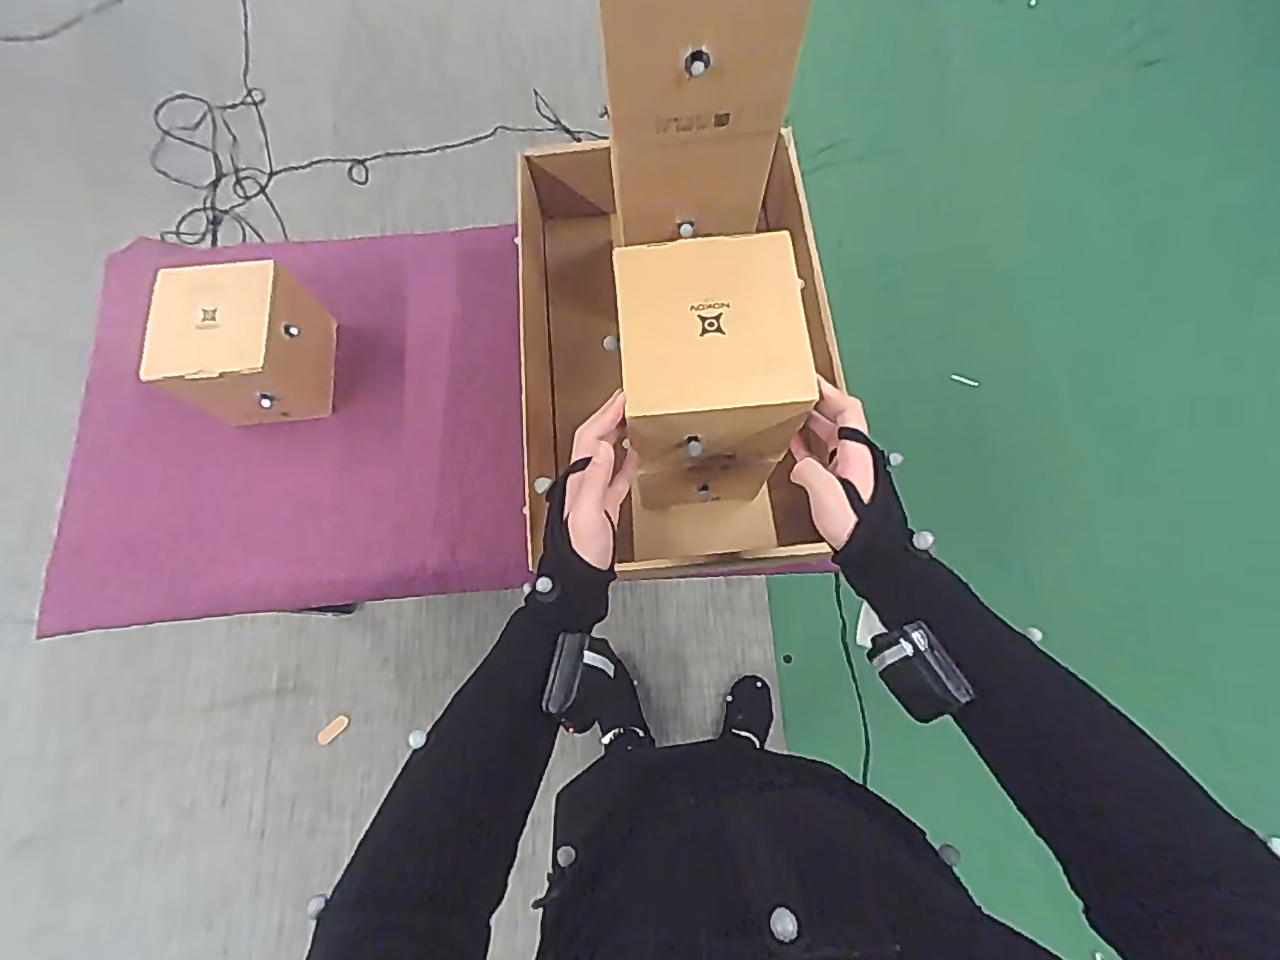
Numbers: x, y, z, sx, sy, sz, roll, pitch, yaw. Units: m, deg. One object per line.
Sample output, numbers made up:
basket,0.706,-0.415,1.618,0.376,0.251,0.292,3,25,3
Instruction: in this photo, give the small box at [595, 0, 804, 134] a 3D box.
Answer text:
small box,0.044,-0.431,0.466,0.168,0.176,0.179,-5,76,0

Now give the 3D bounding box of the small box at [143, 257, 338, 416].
small box,-0.585,-0.204,0.816,0.168,0.176,0.179,-4,74,-1

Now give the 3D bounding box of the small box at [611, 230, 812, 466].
small box,0.065,-0.119,0.555,0.168,0.176,0.179,-5,73,2

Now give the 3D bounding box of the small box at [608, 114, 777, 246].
small box,0.049,-0.394,0.627,0.168,0.176,0.179,-7,76,1
